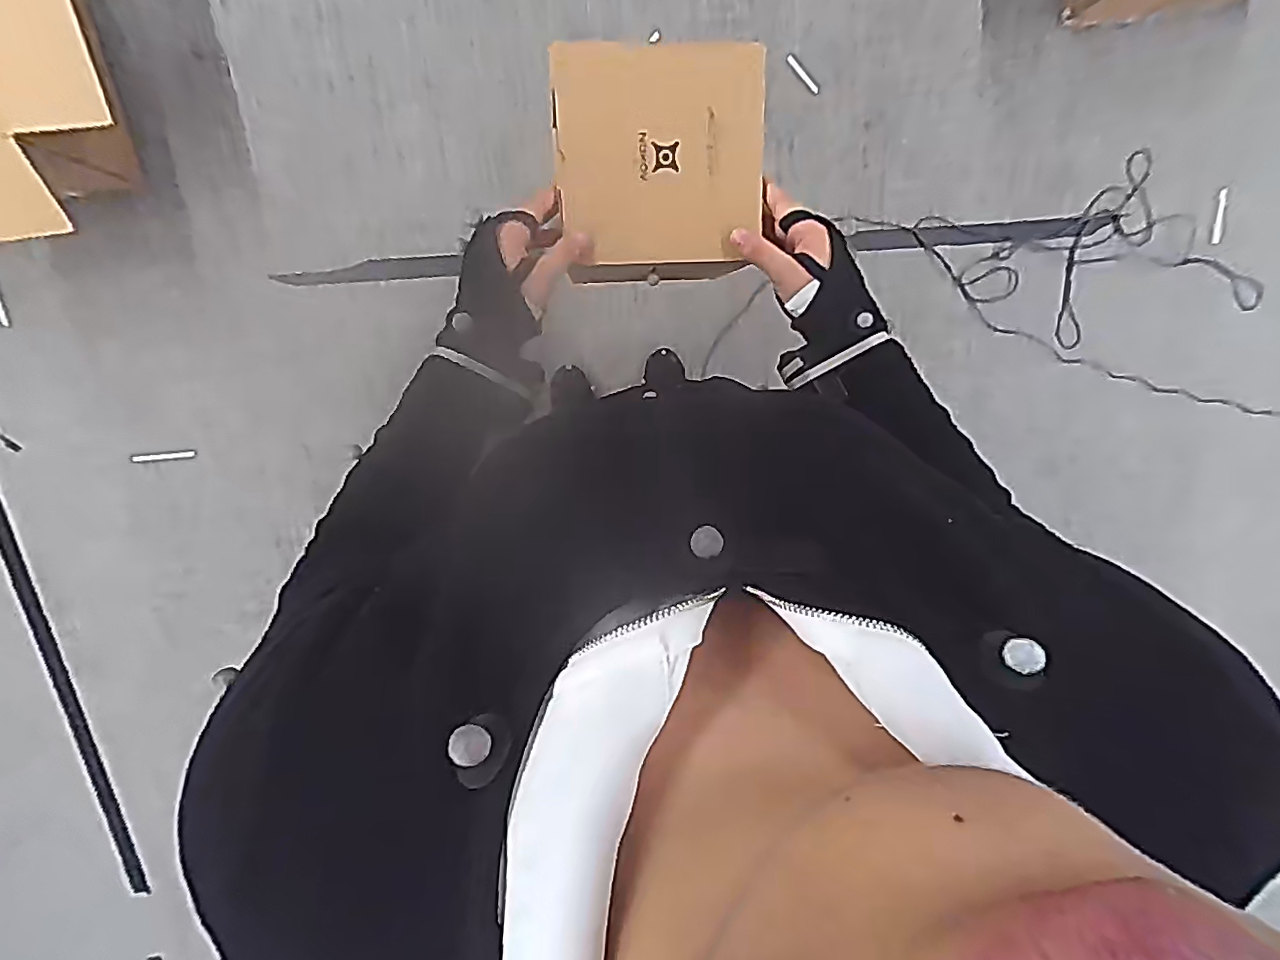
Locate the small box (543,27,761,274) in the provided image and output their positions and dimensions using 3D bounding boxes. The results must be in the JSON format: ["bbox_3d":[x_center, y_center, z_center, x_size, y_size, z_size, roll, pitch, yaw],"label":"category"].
[{"bbox_3d":[0.007,-0.296,0.522,0.179,0.176,0.168,-4,106,-5],"label":"small box"}]
